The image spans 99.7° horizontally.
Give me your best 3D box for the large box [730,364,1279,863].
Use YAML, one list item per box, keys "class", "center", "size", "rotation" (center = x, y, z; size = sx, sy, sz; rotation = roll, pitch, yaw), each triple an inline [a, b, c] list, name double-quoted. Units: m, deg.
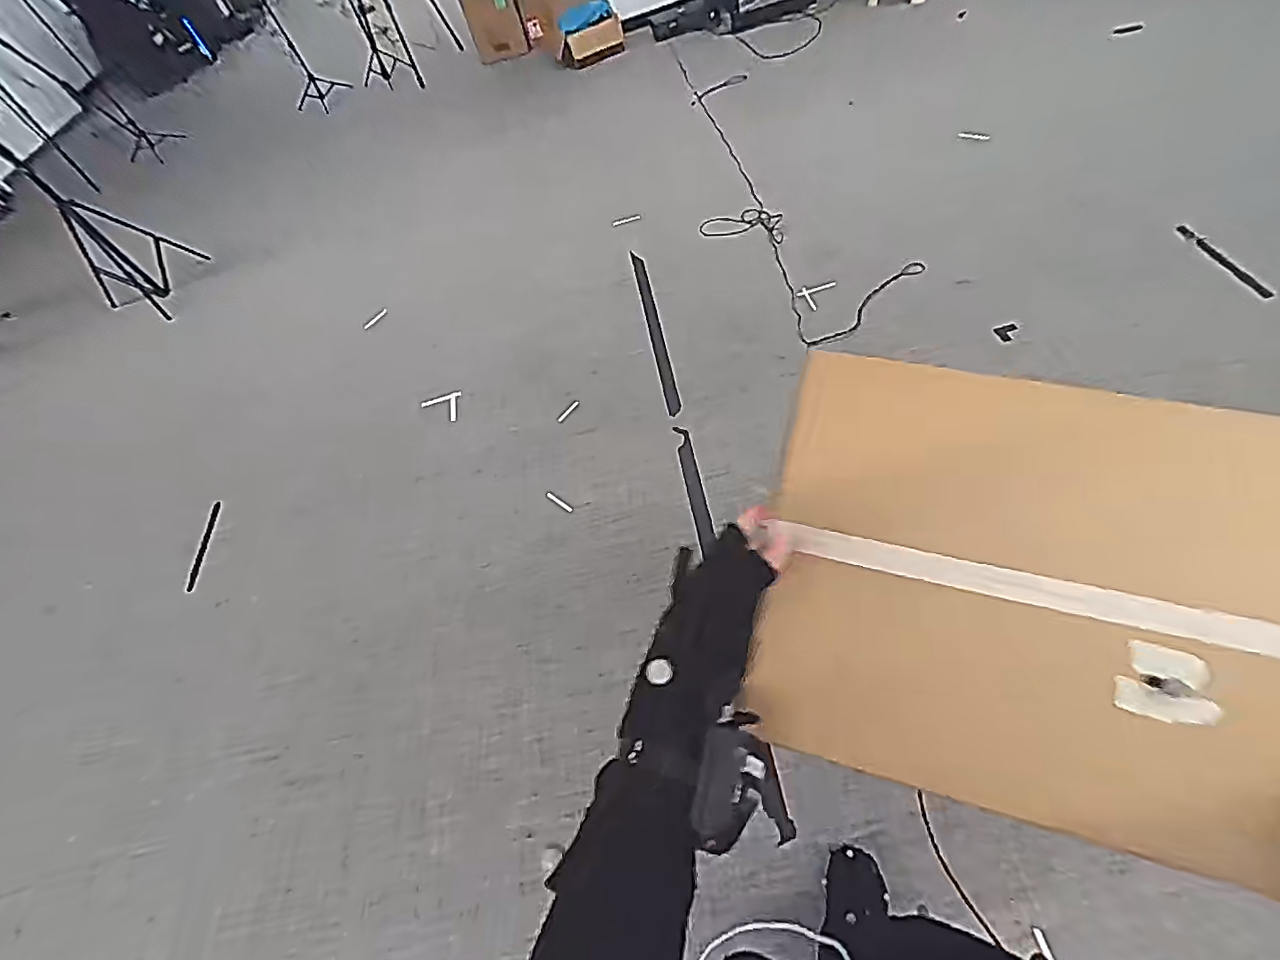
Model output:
- class: "large box"
  center: [0.313, 0.105, 0.552]
  size: [0.408, 0.320, 0.320]
  rotation: [10, 81, 12]
